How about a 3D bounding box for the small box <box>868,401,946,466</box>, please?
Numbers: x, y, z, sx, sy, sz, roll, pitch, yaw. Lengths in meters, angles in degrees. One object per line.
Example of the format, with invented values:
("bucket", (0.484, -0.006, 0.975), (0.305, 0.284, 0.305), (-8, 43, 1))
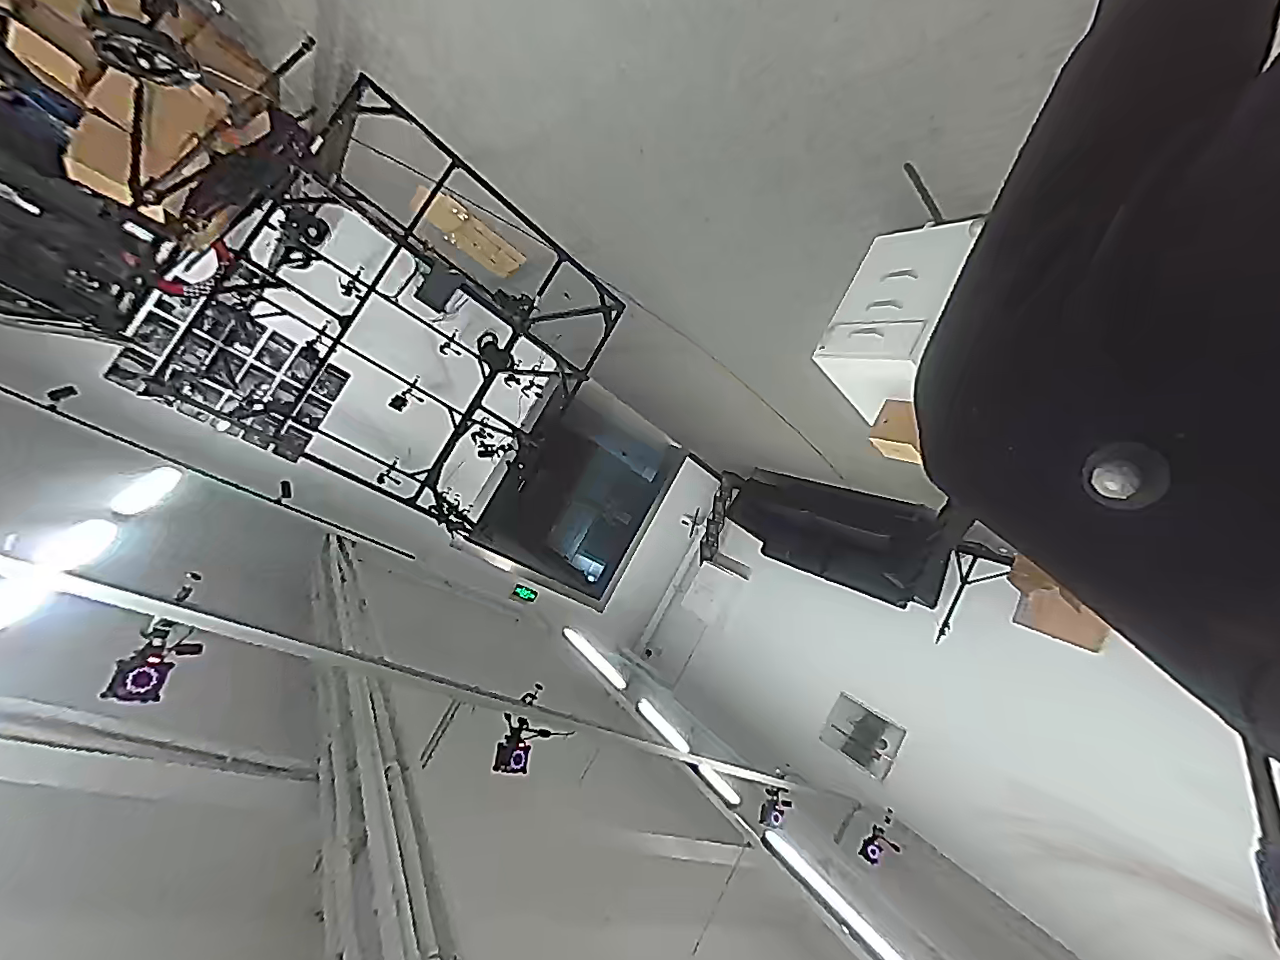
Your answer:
("small box", (0.986, -0.175, 1.996), (0.168, 0.176, 0.179), (33, 173, -36))
